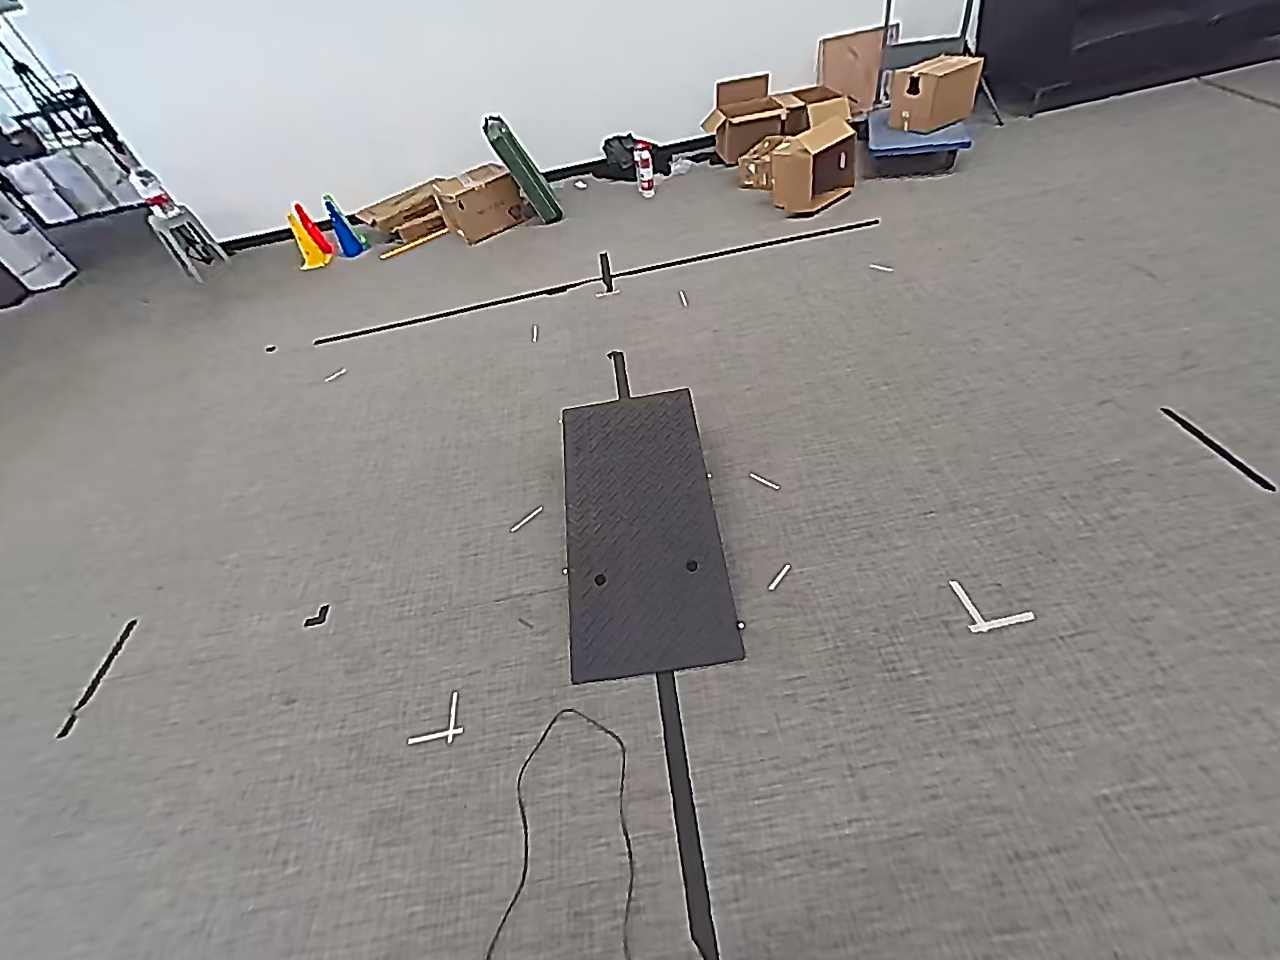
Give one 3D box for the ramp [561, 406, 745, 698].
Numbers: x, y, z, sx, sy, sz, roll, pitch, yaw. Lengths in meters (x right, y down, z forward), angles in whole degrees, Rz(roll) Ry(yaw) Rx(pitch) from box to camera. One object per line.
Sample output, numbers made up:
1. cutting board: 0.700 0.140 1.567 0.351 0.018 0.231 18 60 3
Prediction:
1. ramp: -0.002 0.167 1.787 0.509 0.206 0.991 -11 45 1
